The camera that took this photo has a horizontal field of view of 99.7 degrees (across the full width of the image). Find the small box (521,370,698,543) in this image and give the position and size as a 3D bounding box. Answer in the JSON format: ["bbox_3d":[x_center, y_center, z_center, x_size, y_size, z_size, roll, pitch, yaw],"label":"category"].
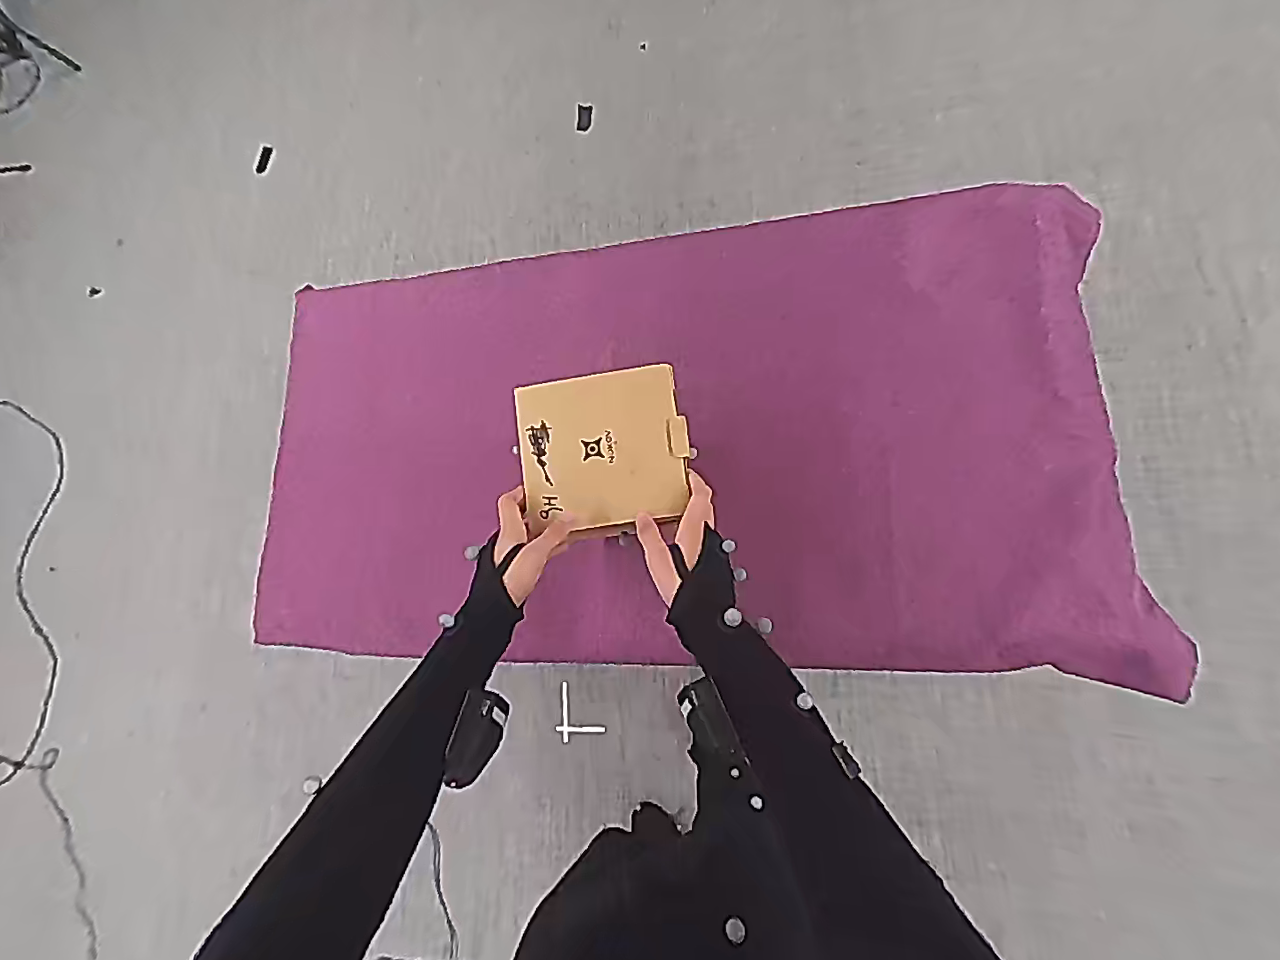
[{"bbox_3d":[-0.030,-0.017,0.649,0.179,0.176,0.168,-8,80,3],"label":"small box"}]
